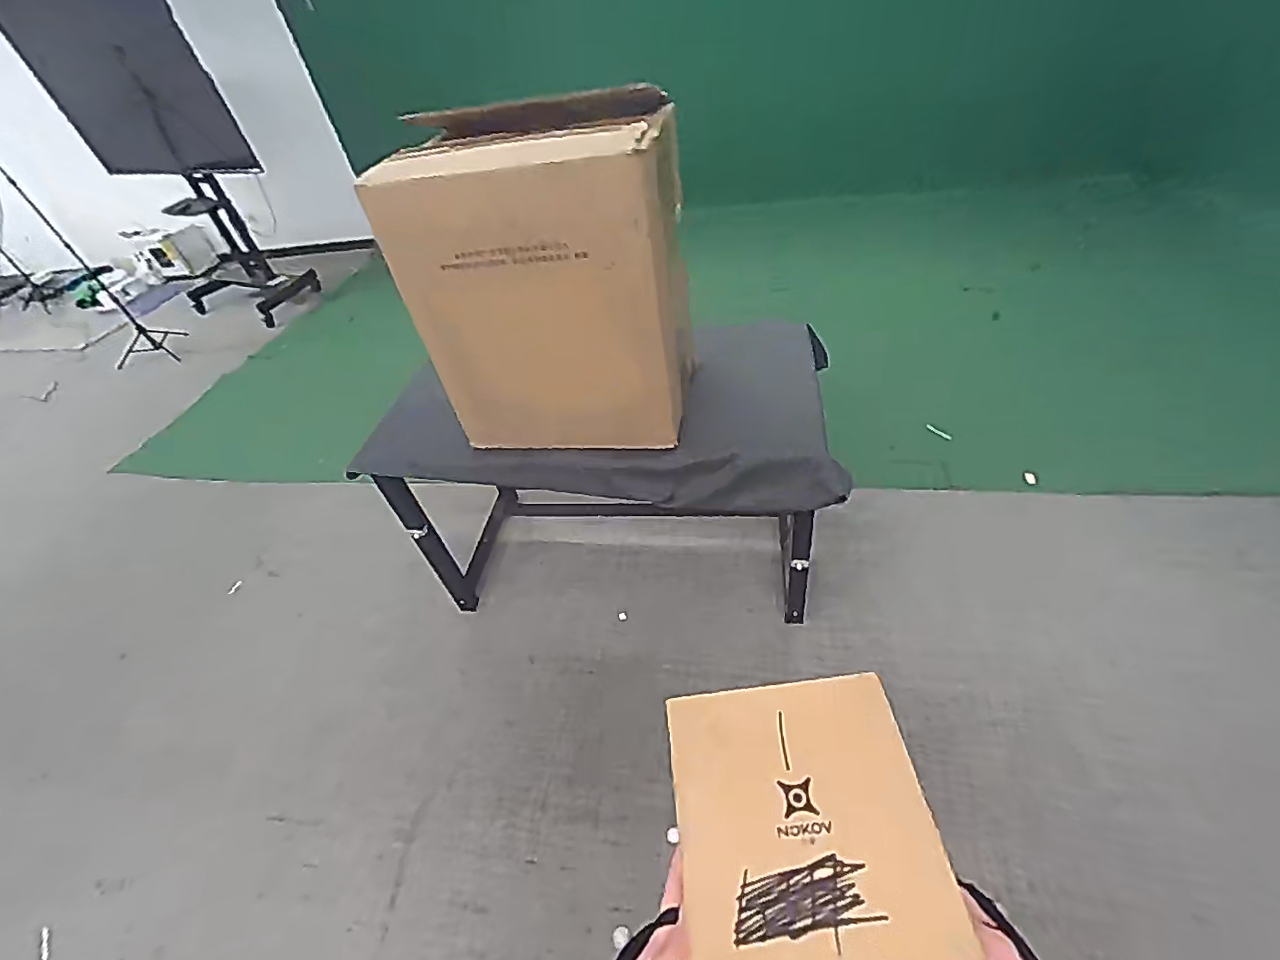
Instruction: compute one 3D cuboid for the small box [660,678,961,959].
[{"bbox_3d":[0.113,0.280,0.420,0.168,0.176,0.179,-9,45,5],"label":"small box"}]
